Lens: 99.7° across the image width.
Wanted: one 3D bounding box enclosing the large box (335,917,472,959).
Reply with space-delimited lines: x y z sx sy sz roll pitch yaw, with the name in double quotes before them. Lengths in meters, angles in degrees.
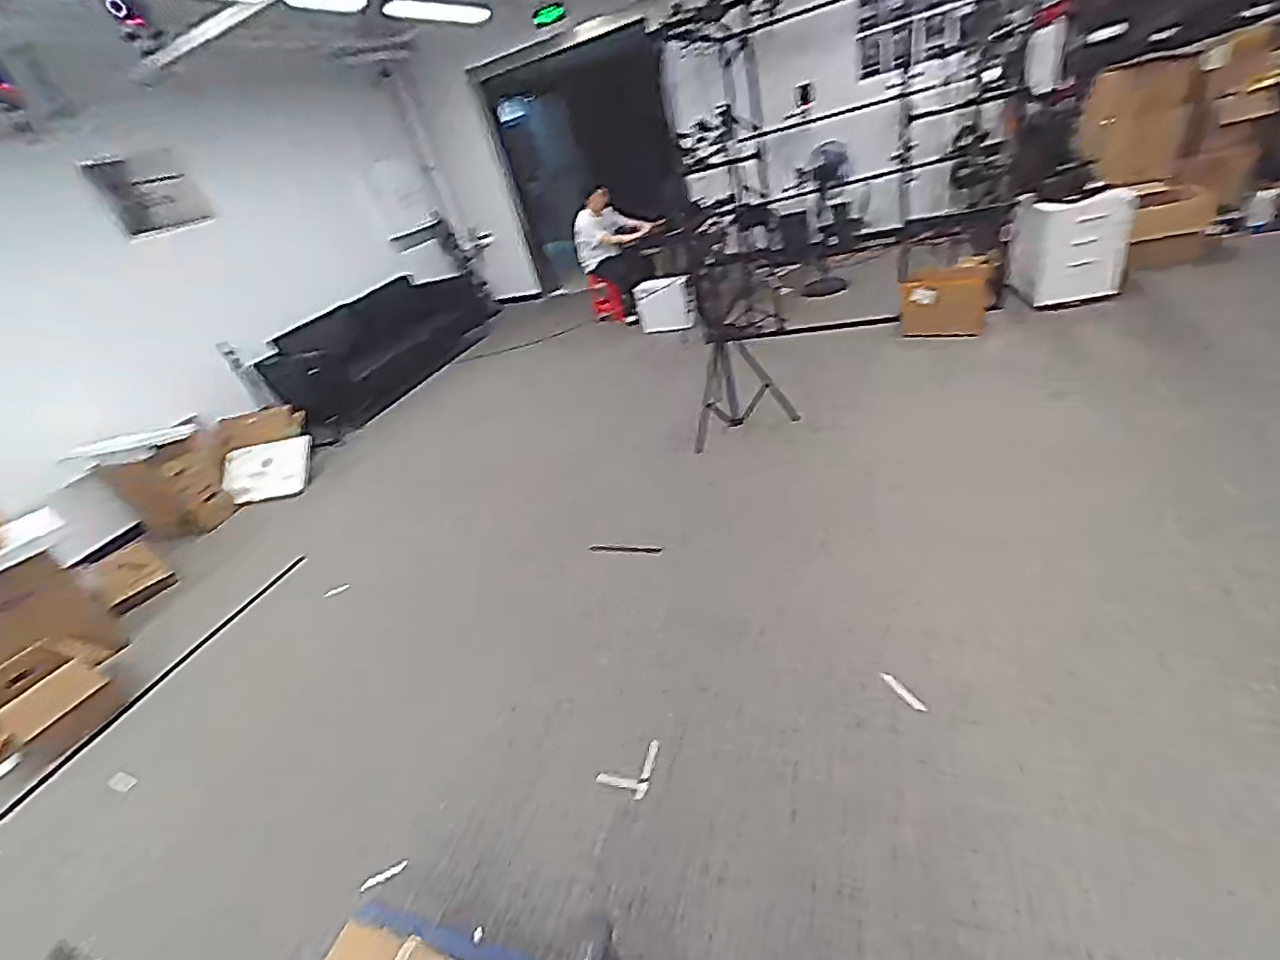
"large box" -0.411 1.055 0.895 0.320 0.320 0.408 -2 36 25
